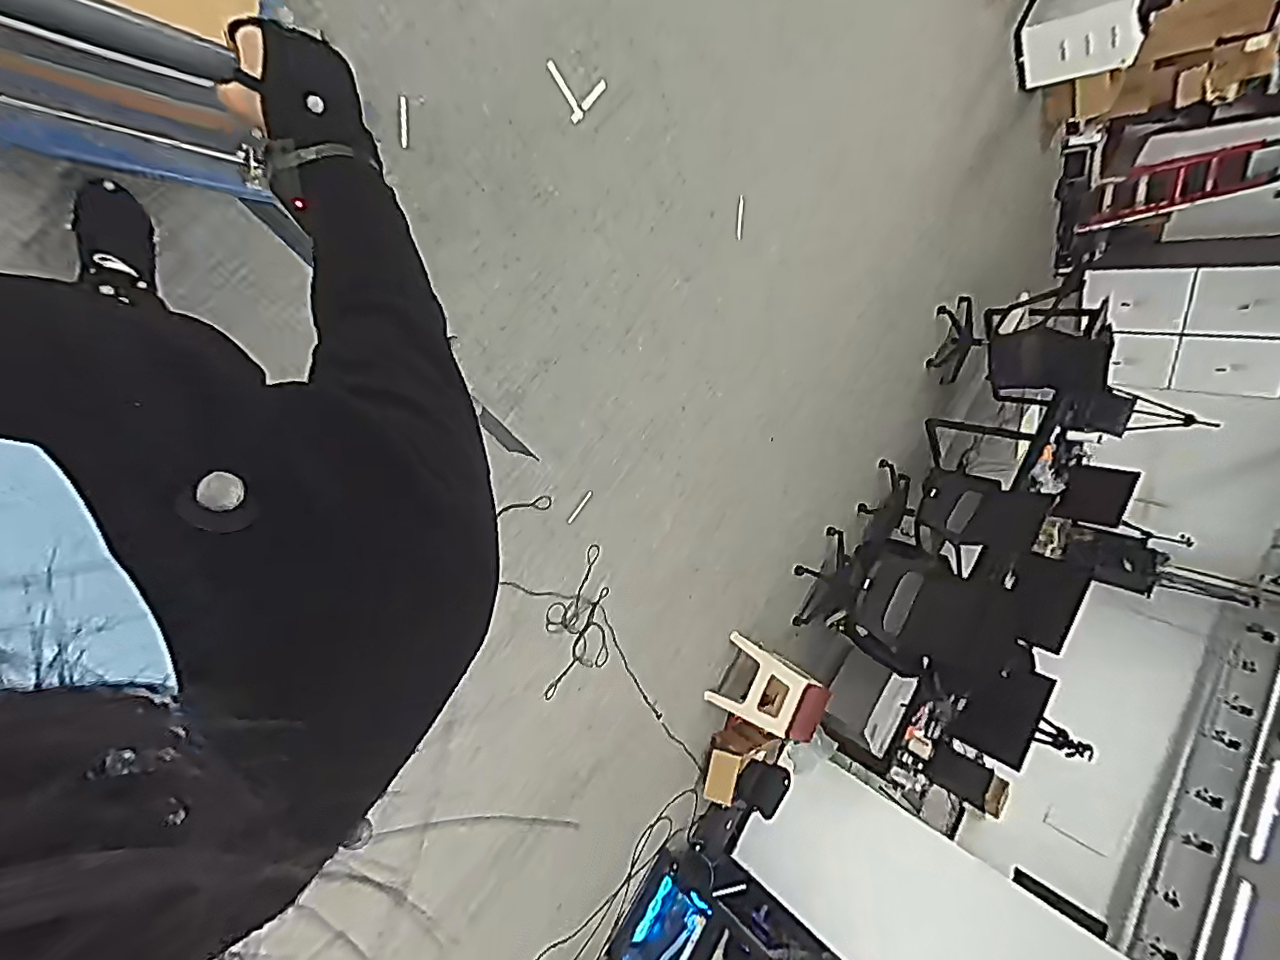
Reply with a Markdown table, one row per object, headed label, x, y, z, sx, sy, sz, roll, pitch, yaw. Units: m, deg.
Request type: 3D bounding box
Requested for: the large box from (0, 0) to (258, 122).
| label | x | y | z | sx | sy | sz | roll | pitch | yaw |
| --- | --- | --- | --- | --- | --- | --- | --- | --- | --- |
| large box | -0.771 | -0.724 | 0.689 | 0.408 | 0.320 | 0.320 | -8 | 110 | -45 |
